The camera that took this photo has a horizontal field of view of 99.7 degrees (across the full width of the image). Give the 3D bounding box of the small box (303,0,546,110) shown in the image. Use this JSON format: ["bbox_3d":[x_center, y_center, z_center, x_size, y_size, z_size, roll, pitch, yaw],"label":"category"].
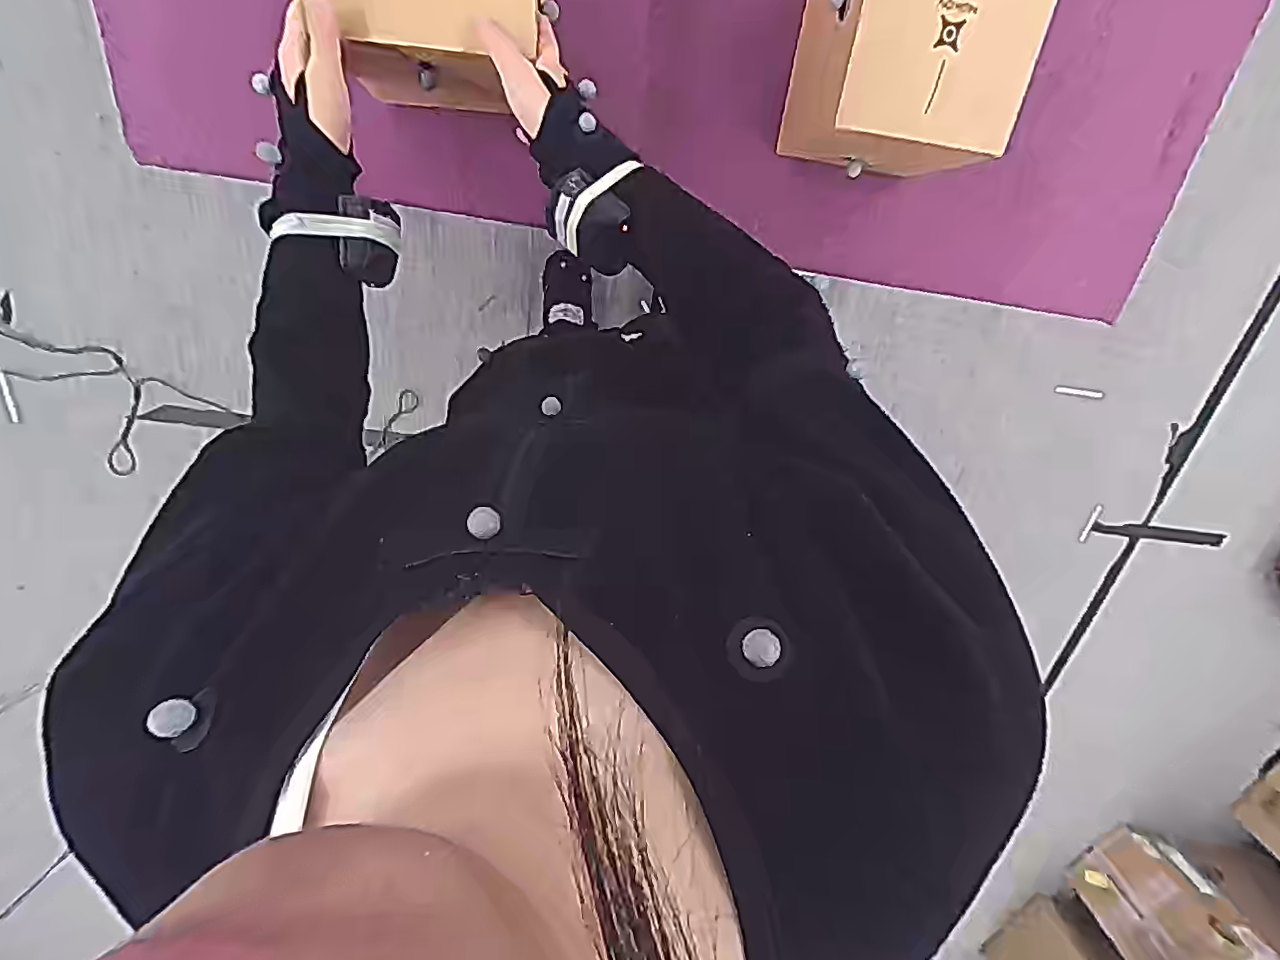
[{"bbox_3d":[-0.173,-0.444,0.471,0.179,0.176,0.168,1,110,-6],"label":"small box"}]

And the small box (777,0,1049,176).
[{"bbox_3d":[0.250,-0.415,0.527,0.168,0.176,0.179,5,114,-7],"label":"small box"}]
